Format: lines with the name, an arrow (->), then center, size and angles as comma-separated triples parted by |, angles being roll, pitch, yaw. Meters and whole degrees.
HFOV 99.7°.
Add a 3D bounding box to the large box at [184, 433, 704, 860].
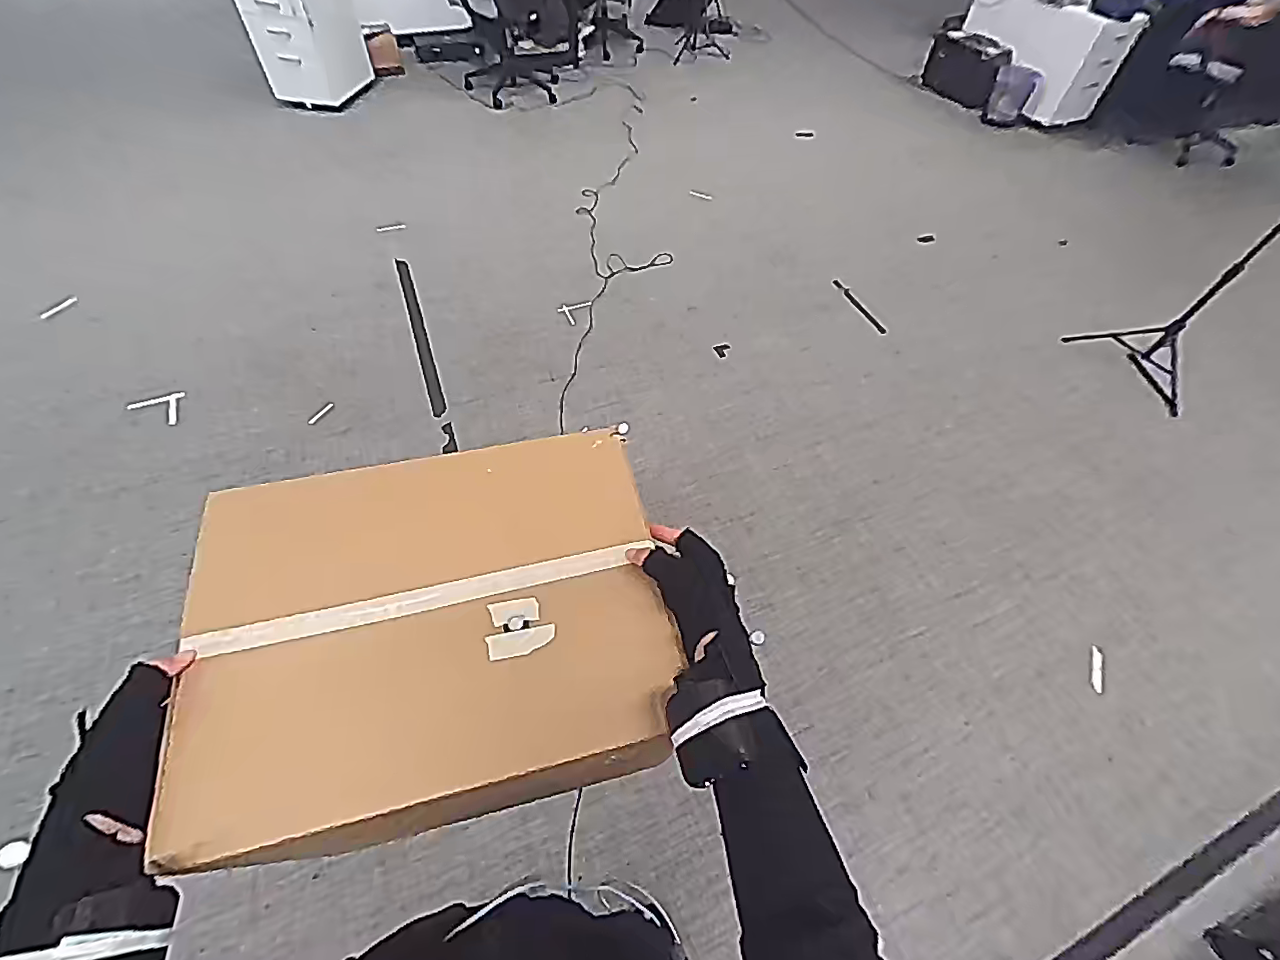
large box -> -0.185, 0.187, 0.620 | 0.408, 0.320, 0.320 | -10, 60, -12
